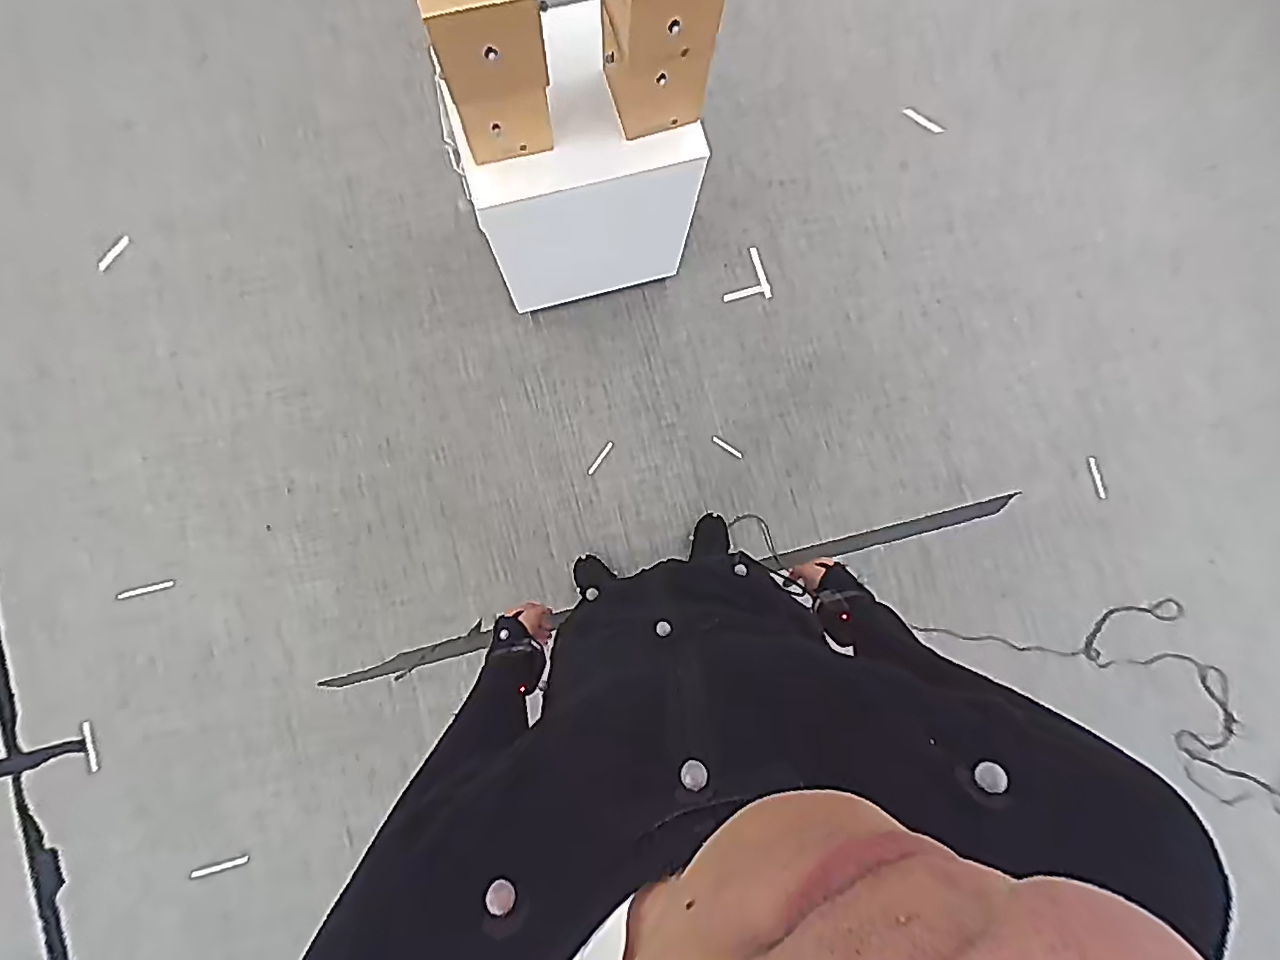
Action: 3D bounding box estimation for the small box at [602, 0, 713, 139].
[{"bbox_3d":[0.026,-0.819,1.058,0.168,0.176,0.179,-18,86,-3],"label":"small box"}]

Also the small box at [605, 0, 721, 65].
[{"bbox_3d":[0.035,-0.833,0.894,0.168,0.176,0.179,-17,87,-4],"label":"small box"}]

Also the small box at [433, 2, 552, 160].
[{"bbox_3d":[-0.273,-0.748,1.037,0.168,0.176,0.179,-15,86,-5],"label":"small box"}]
